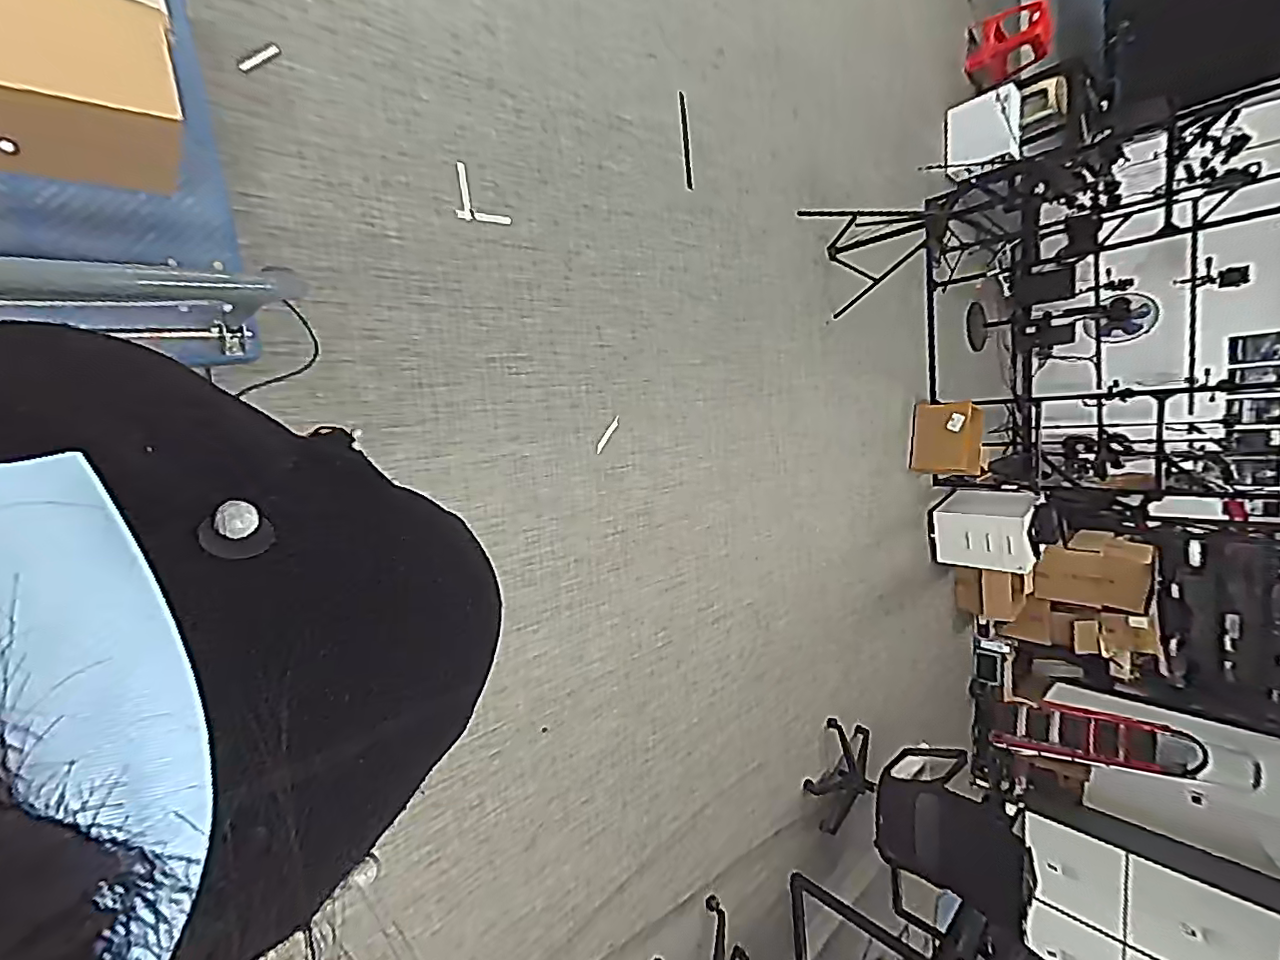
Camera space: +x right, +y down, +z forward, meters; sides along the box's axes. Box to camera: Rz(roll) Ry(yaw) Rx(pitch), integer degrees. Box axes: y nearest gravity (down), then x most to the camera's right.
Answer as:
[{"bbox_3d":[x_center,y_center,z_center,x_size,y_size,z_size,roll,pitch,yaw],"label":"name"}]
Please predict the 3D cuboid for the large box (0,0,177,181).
[{"bbox_3d":[-0.952,-0.664,0.765,0.408,0.320,0.320,-14,100,-40],"label":"large box"}]
